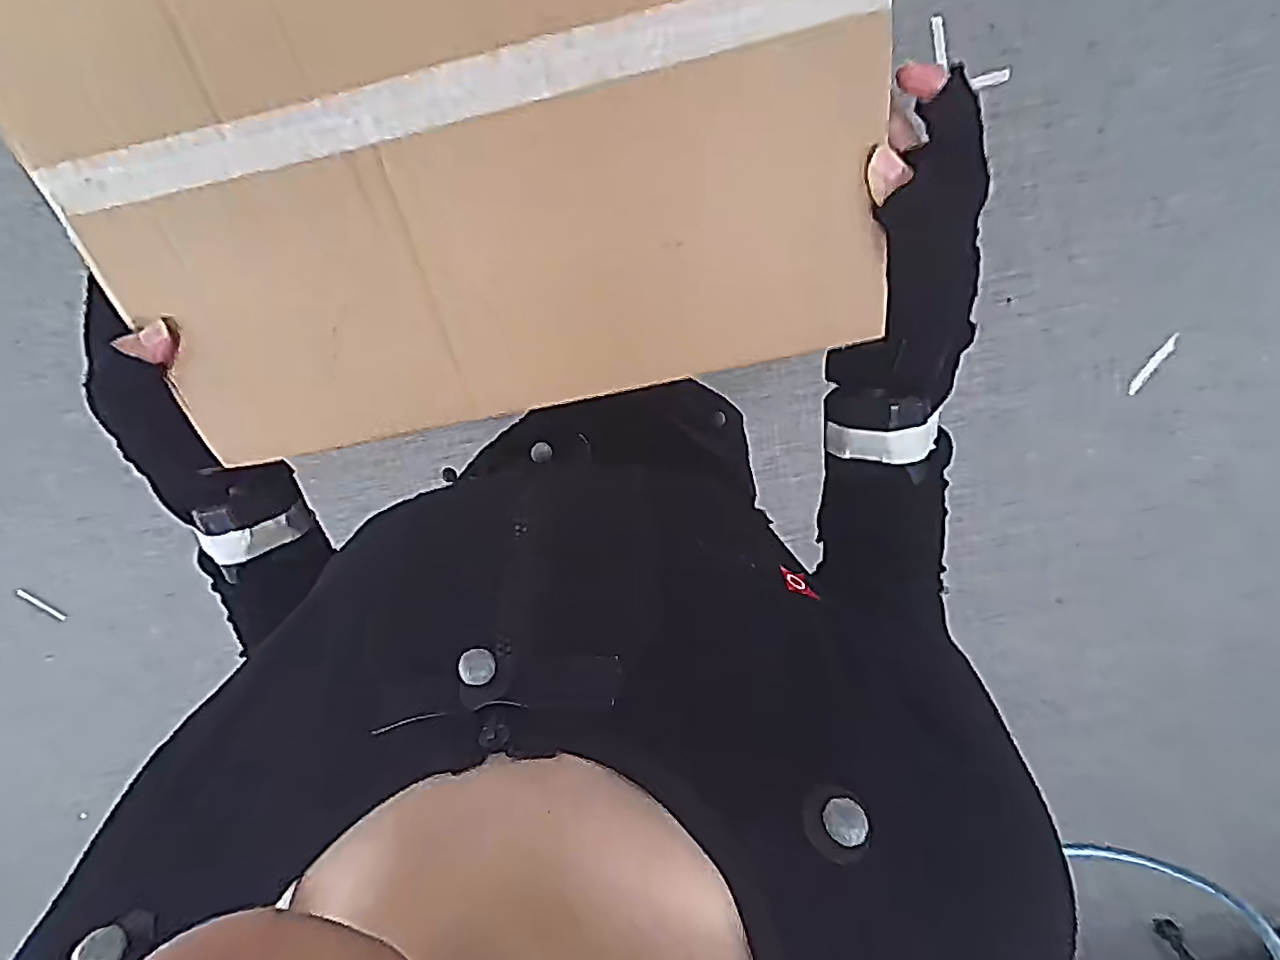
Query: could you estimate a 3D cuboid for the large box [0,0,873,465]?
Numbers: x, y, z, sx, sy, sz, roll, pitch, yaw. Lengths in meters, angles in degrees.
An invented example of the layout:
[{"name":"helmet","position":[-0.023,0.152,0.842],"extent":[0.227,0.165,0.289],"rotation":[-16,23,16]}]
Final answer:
[{"name":"large box","position":[-0.090,-0.249,0.390],"extent":[0.408,0.320,0.320],"rotation":[-11,118,5]}]
